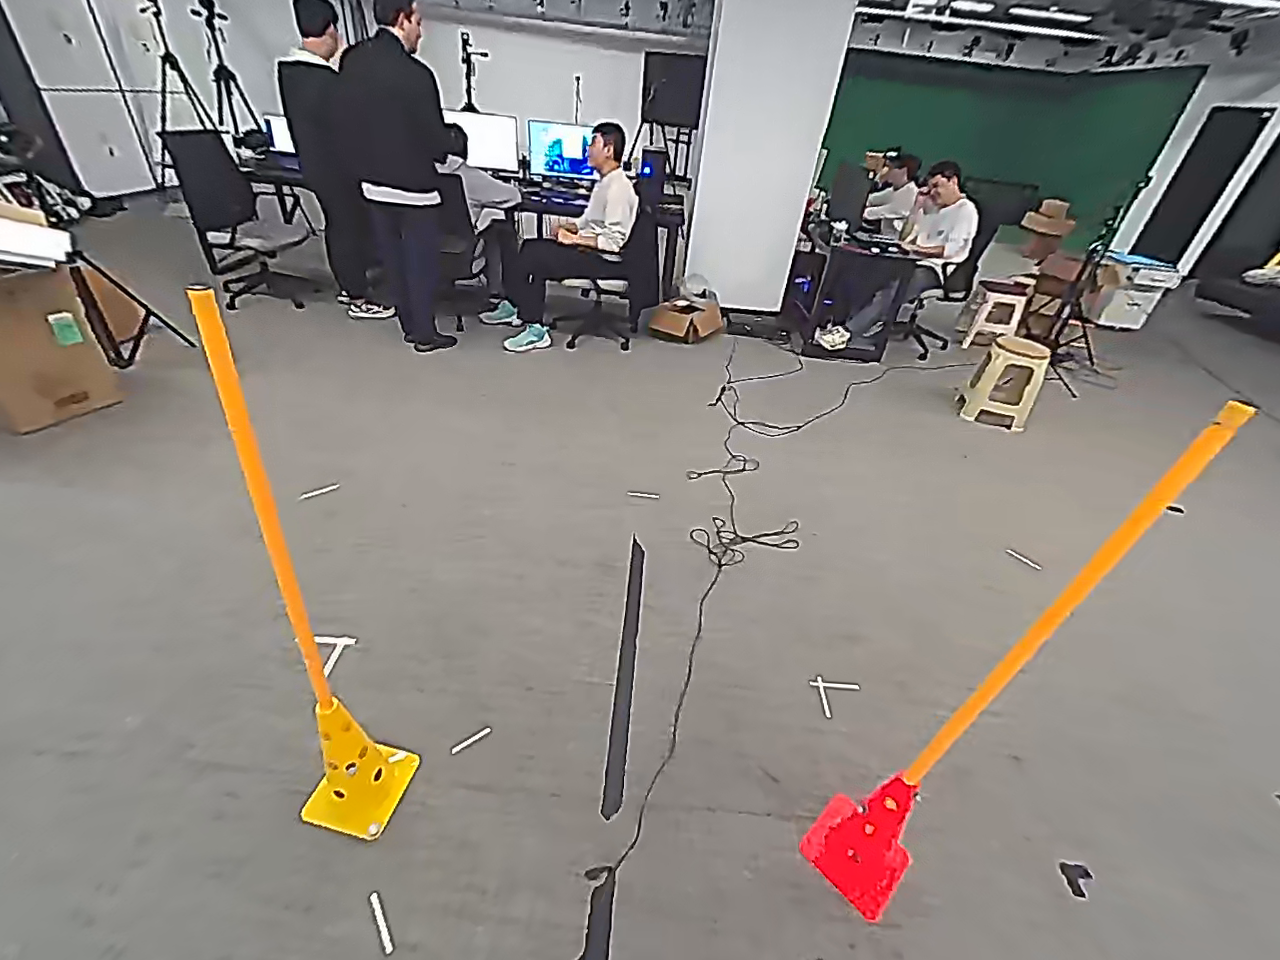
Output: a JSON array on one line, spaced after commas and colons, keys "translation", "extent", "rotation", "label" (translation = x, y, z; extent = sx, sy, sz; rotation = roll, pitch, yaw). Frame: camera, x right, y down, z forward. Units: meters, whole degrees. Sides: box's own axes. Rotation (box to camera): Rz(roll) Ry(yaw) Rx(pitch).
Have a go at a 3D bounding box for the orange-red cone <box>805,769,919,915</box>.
[{"translation": [0.528, 0.740, 1.180], "extent": [0.199, 0.360, 0.198], "rotation": [-25, 44, -34], "label": "orange-red cone"}]
